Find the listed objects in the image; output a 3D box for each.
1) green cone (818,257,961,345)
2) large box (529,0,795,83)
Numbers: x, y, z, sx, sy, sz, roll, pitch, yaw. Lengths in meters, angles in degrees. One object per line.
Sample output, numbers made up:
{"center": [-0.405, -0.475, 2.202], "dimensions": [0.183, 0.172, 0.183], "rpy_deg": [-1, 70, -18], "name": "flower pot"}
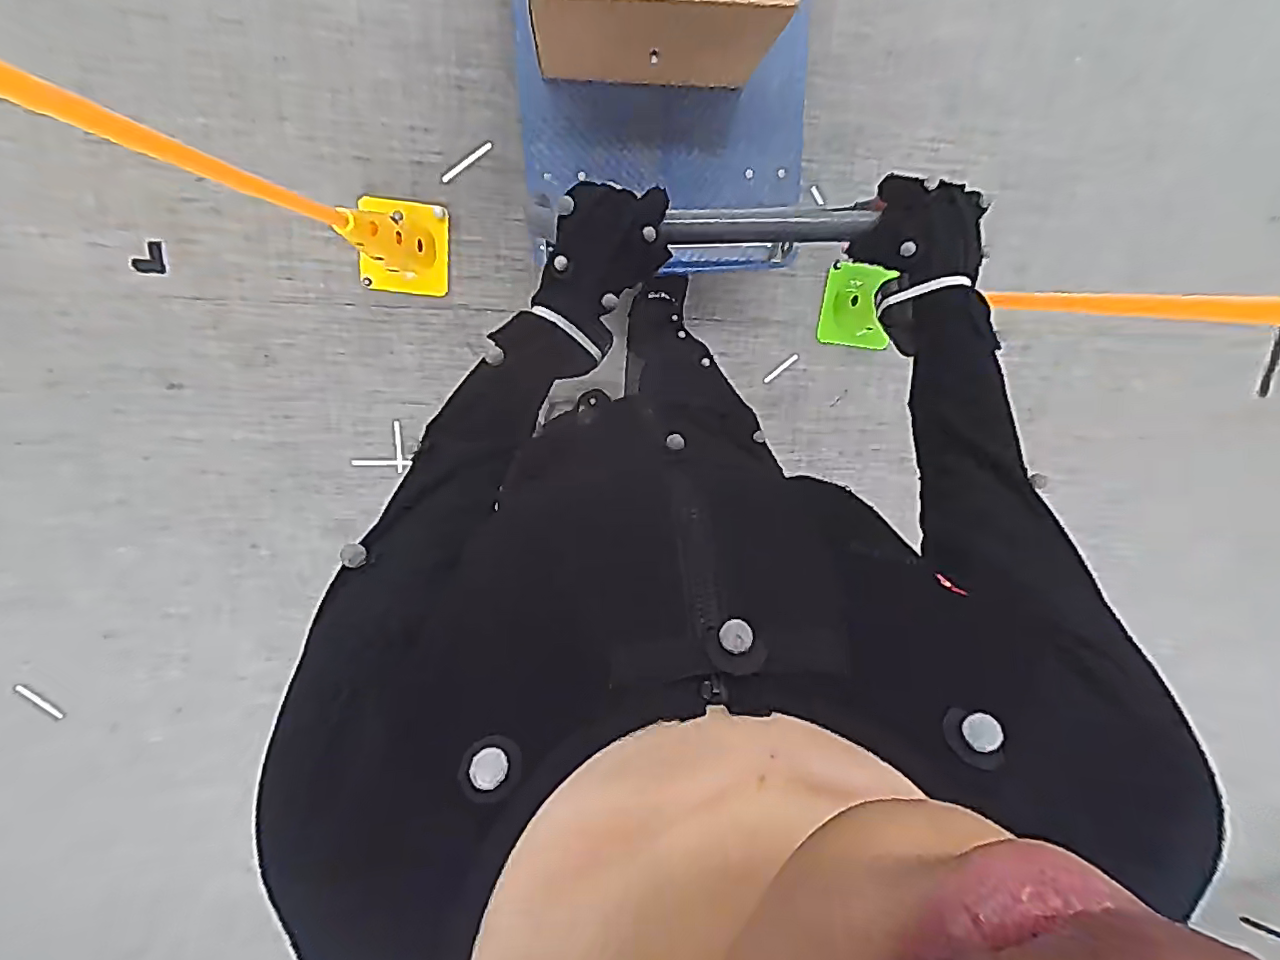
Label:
{"center": [0.588, -0.413, 1.233], "dimensions": [0.202, 0.368, 0.200], "rpy_deg": [5, 105, -8], "name": "green cone"}
{"center": [0.023, -0.891, 0.891], "dimensions": [0.408, 0.320, 0.320], "rpy_deg": [-1, 107, -5], "name": "large box"}
